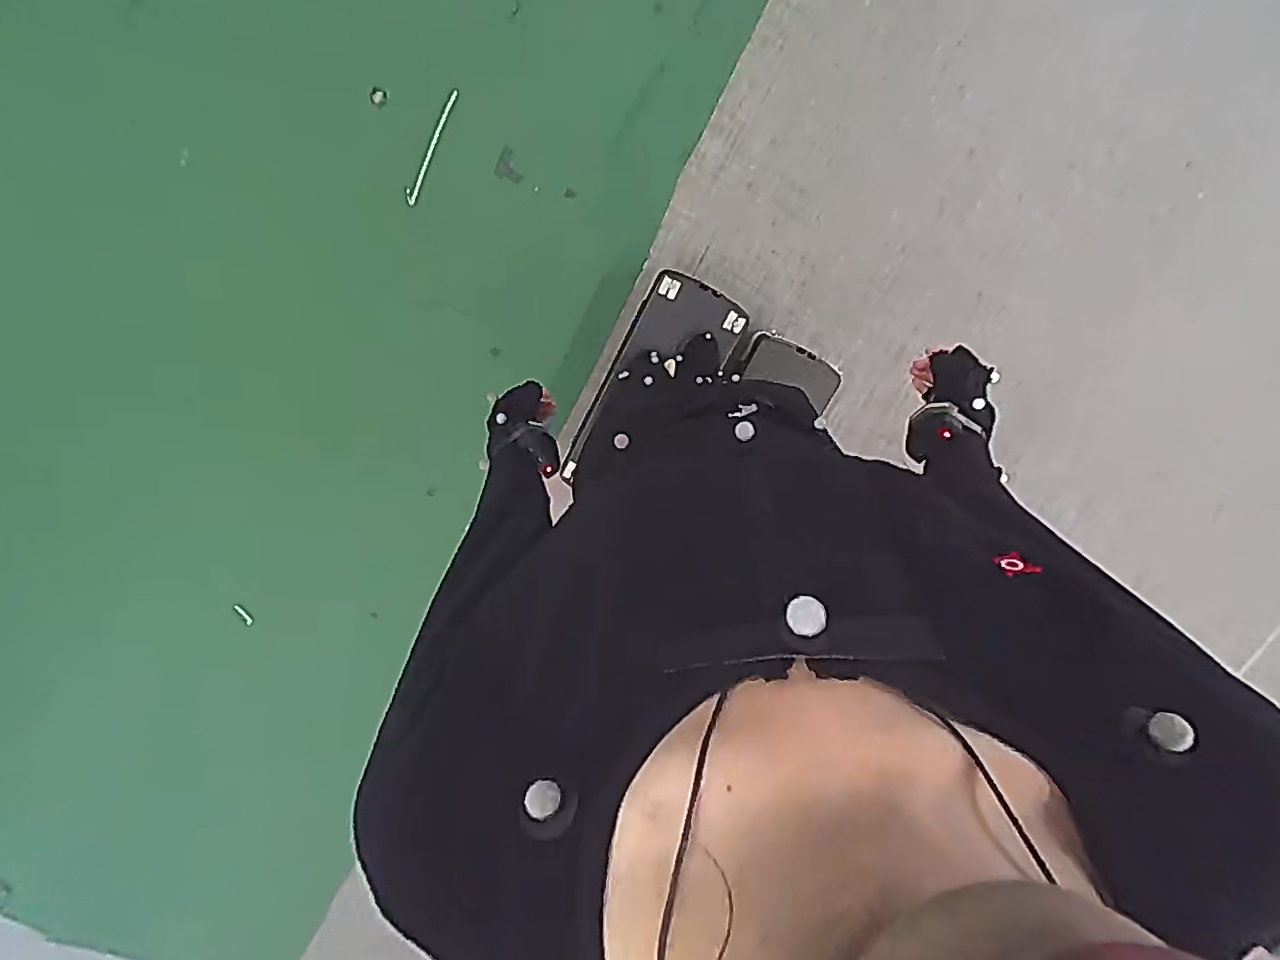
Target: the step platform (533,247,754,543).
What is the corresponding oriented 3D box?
[{"bbox_3d":[-0.002,-0.197,1.349,0.286,0.204,0.684,26,103,-8],"label":"step platform"}]
